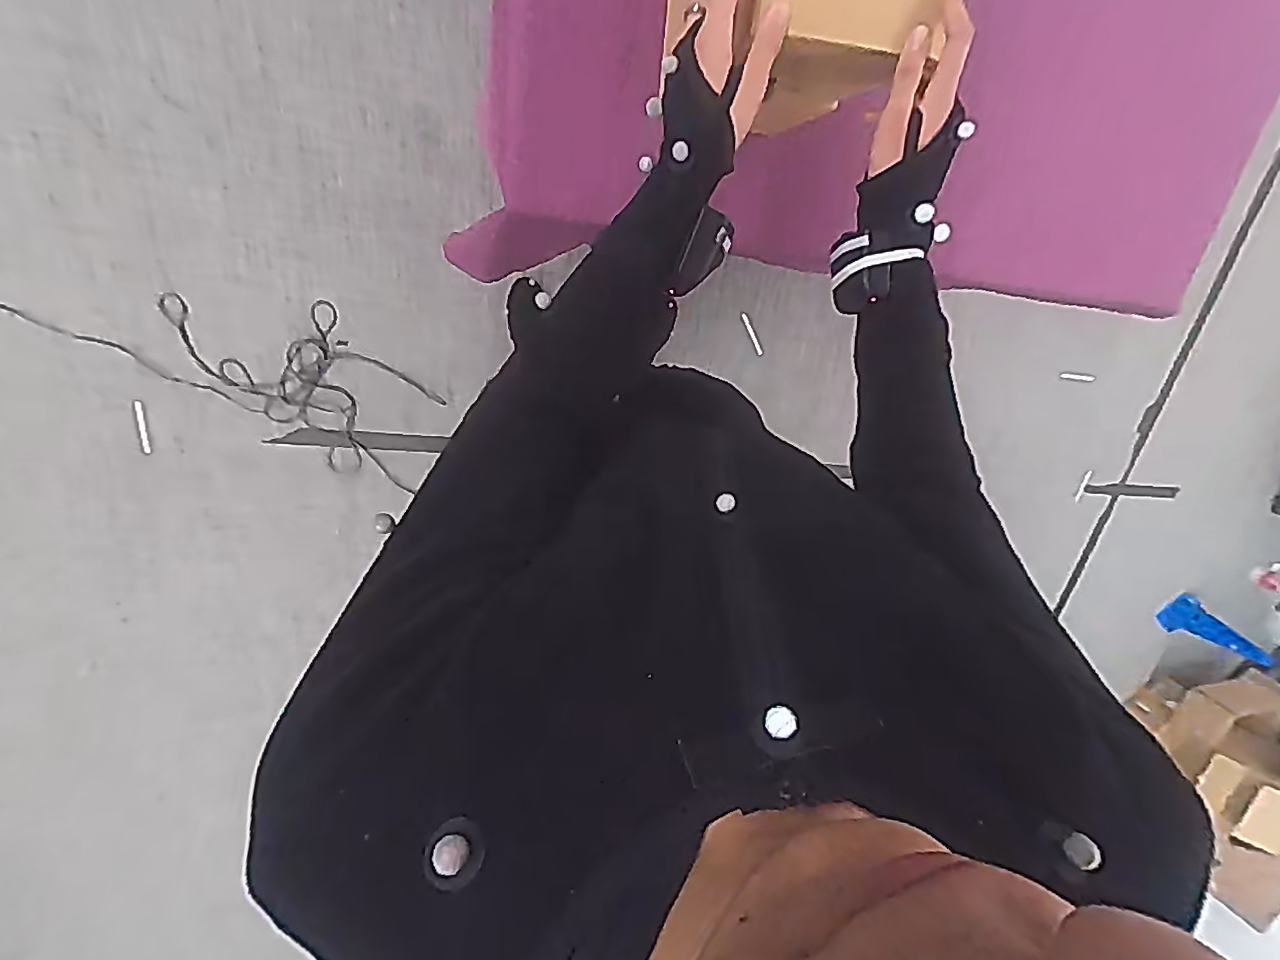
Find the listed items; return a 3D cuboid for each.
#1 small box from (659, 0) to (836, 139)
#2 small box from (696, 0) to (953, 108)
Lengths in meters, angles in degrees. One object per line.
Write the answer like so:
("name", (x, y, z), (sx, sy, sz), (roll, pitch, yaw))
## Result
("small box", (0.125, -0.515, 0.617), (0.168, 0.176, 0.179), (0, 113, -14))
("small box", (0.156, -0.453, 0.469), (0.168, 0.176, 0.179), (-1, 114, -13))
